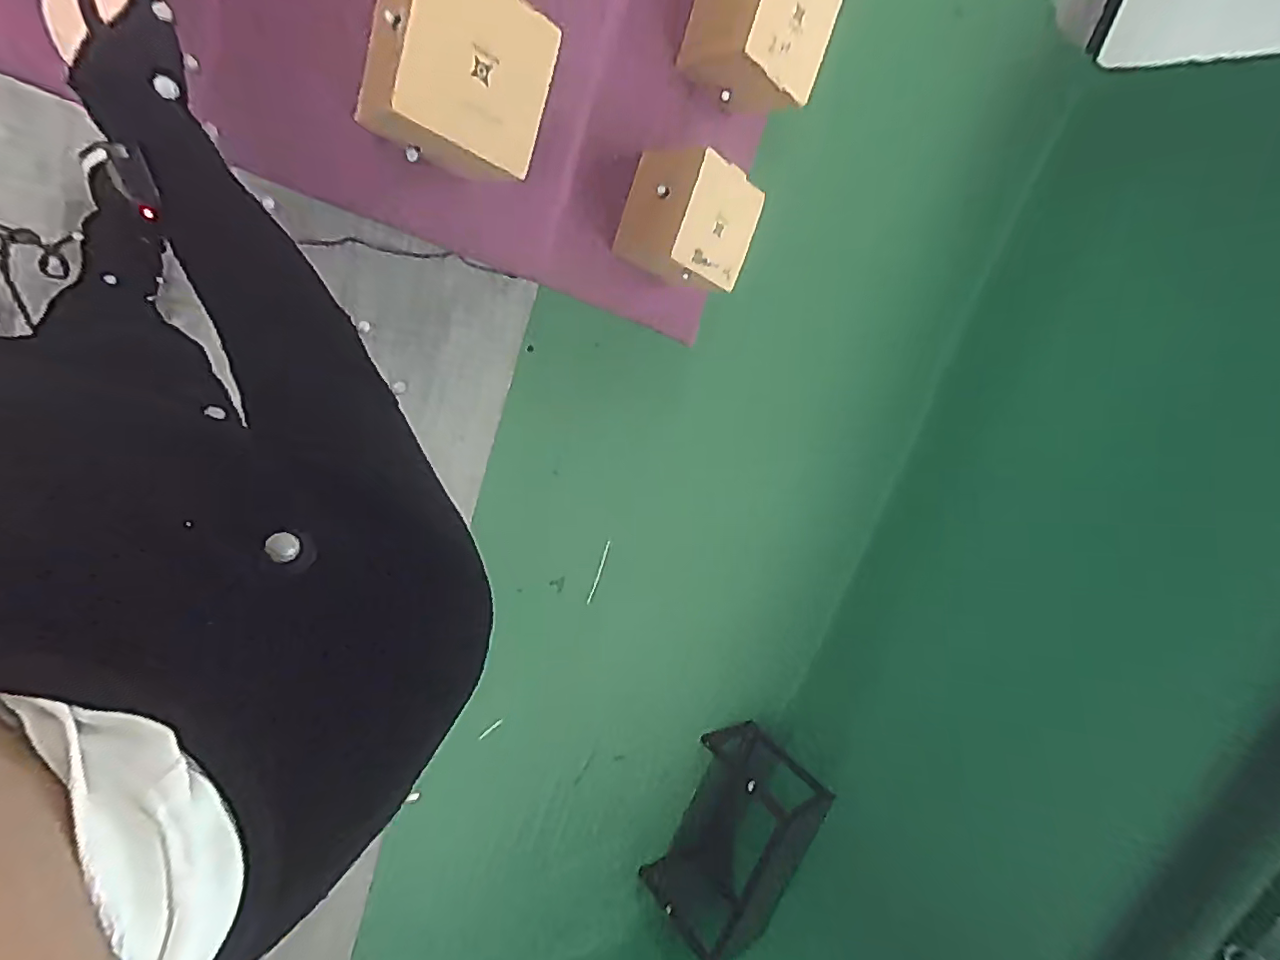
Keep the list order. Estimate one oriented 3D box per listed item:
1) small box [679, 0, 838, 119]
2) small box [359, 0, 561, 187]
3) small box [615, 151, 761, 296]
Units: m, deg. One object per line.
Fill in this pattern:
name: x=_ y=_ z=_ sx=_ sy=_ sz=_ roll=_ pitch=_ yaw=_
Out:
small box: x=0.191 y=-0.741 z=0.904 sx=0.168 sy=0.176 sz=0.179 roll=7 pitch=108 yaw=-41
small box: x=-0.228 y=-0.490 z=0.669 sx=0.168 sy=0.176 sz=0.179 roll=8 pitch=106 yaw=-43
small box: x=0.079 y=-0.449 z=0.966 sx=0.168 sy=0.176 sz=0.179 roll=10 pitch=103 yaw=-43
